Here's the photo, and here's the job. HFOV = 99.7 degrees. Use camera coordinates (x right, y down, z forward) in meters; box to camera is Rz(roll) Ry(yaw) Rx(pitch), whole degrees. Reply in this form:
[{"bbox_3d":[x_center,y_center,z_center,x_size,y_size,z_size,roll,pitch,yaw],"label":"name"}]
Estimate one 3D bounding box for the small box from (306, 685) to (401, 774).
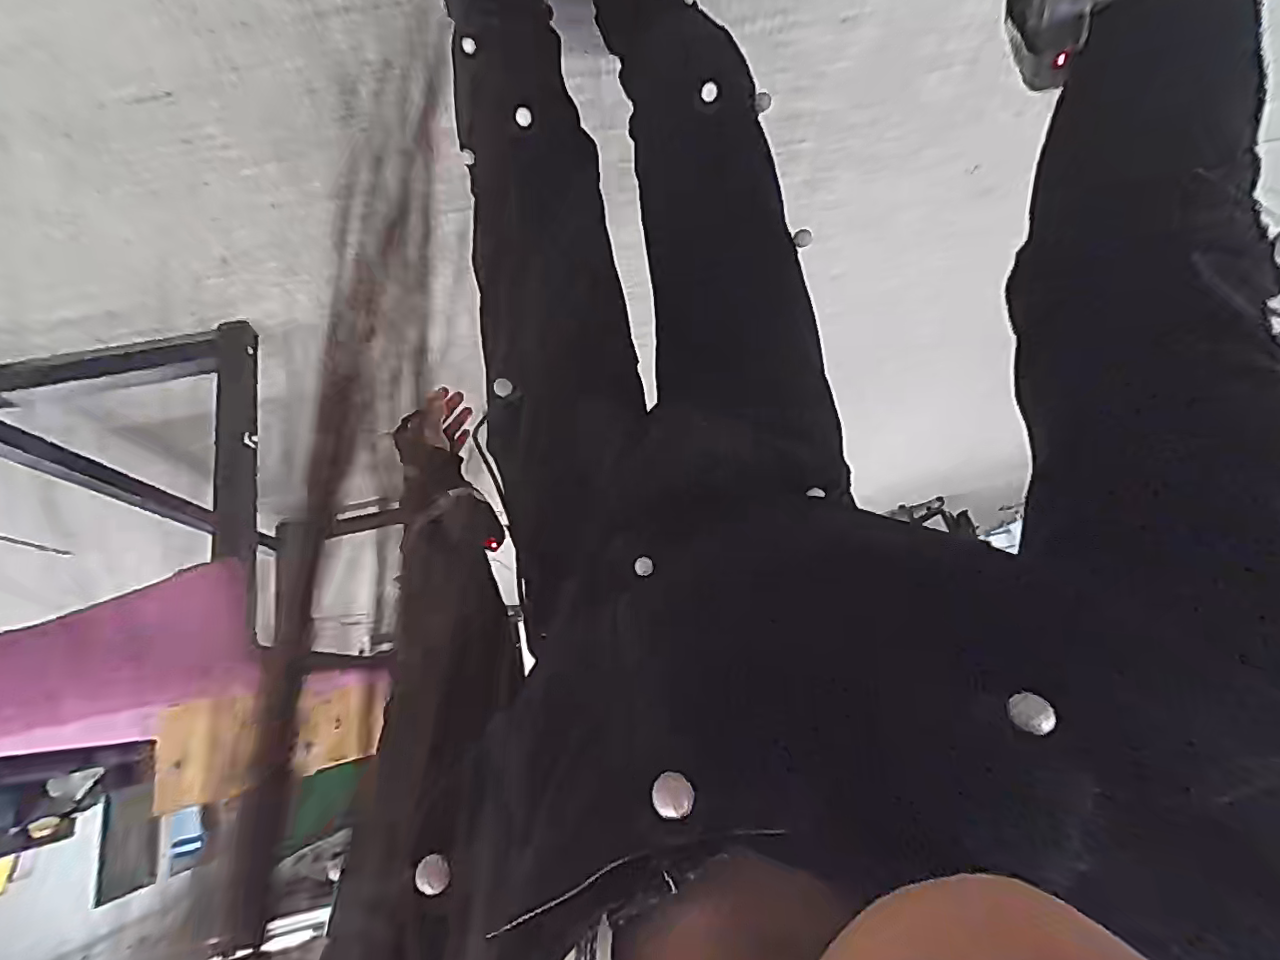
[{"bbox_3d":[-0.741,0.637,1.401,0.168,0.176,0.179,-12,160,-7],"label":"small box"}]
